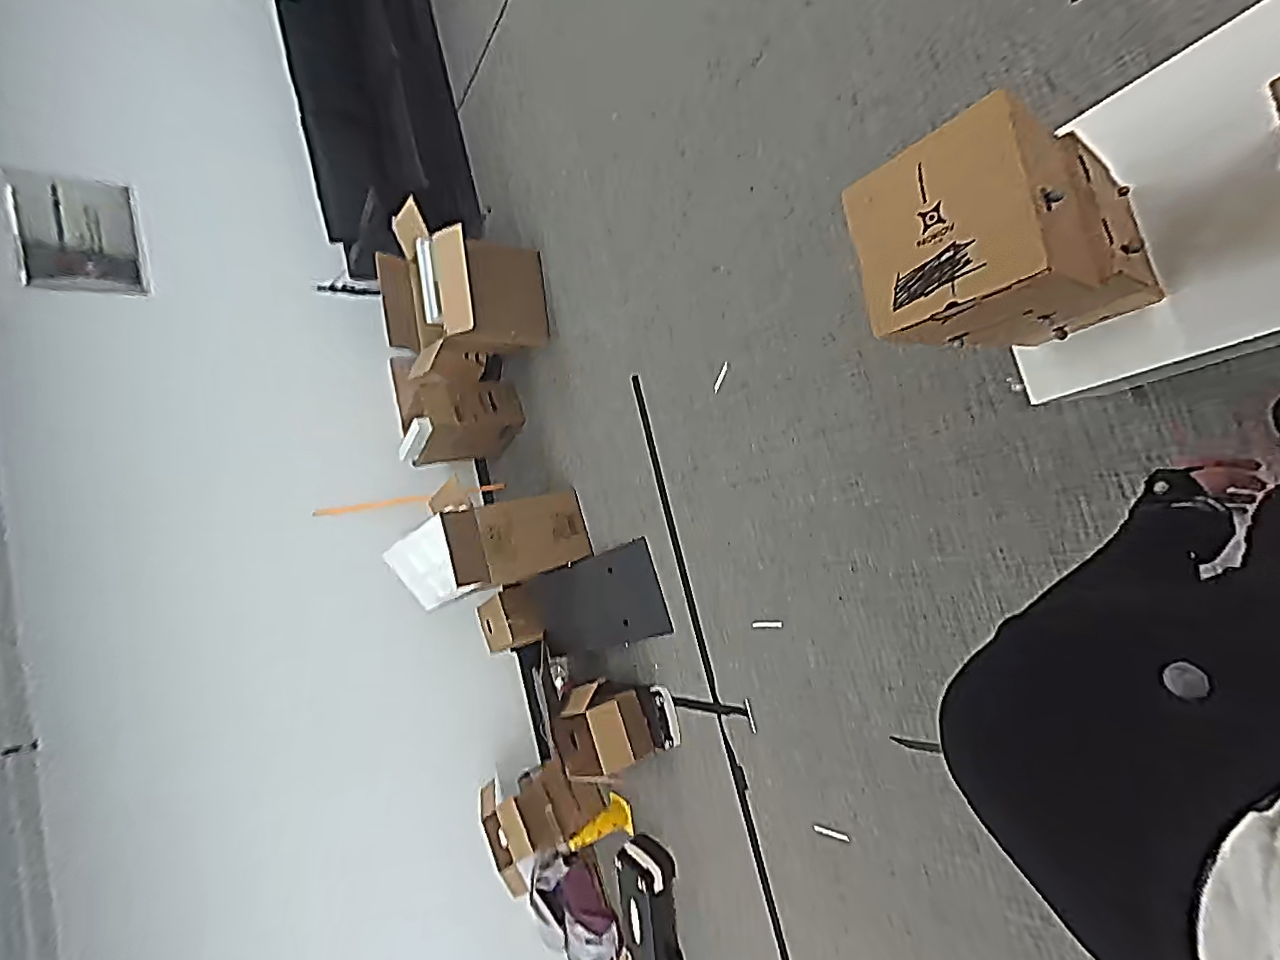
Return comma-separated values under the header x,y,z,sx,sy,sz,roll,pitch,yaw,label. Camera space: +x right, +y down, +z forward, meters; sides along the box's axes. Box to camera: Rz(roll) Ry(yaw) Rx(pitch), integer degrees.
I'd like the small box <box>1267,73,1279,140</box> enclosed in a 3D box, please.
x,y,z,sx,sy,sz,roll,pitch,yaw,label
0.788,-0.368,0.543,0.168,0.176,0.179,-26,77,52,small box

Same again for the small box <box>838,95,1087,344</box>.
x,y,z,sx,sy,sz,roll,pitch,yaw,label
0.349,-0.258,0.587,0.168,0.176,0.179,-16,84,52,small box

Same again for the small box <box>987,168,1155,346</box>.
x,y,z,sx,sy,sz,roll,pitch,yaw,label
0.607,-0.308,0.786,0.168,0.176,0.179,-21,81,51,small box
